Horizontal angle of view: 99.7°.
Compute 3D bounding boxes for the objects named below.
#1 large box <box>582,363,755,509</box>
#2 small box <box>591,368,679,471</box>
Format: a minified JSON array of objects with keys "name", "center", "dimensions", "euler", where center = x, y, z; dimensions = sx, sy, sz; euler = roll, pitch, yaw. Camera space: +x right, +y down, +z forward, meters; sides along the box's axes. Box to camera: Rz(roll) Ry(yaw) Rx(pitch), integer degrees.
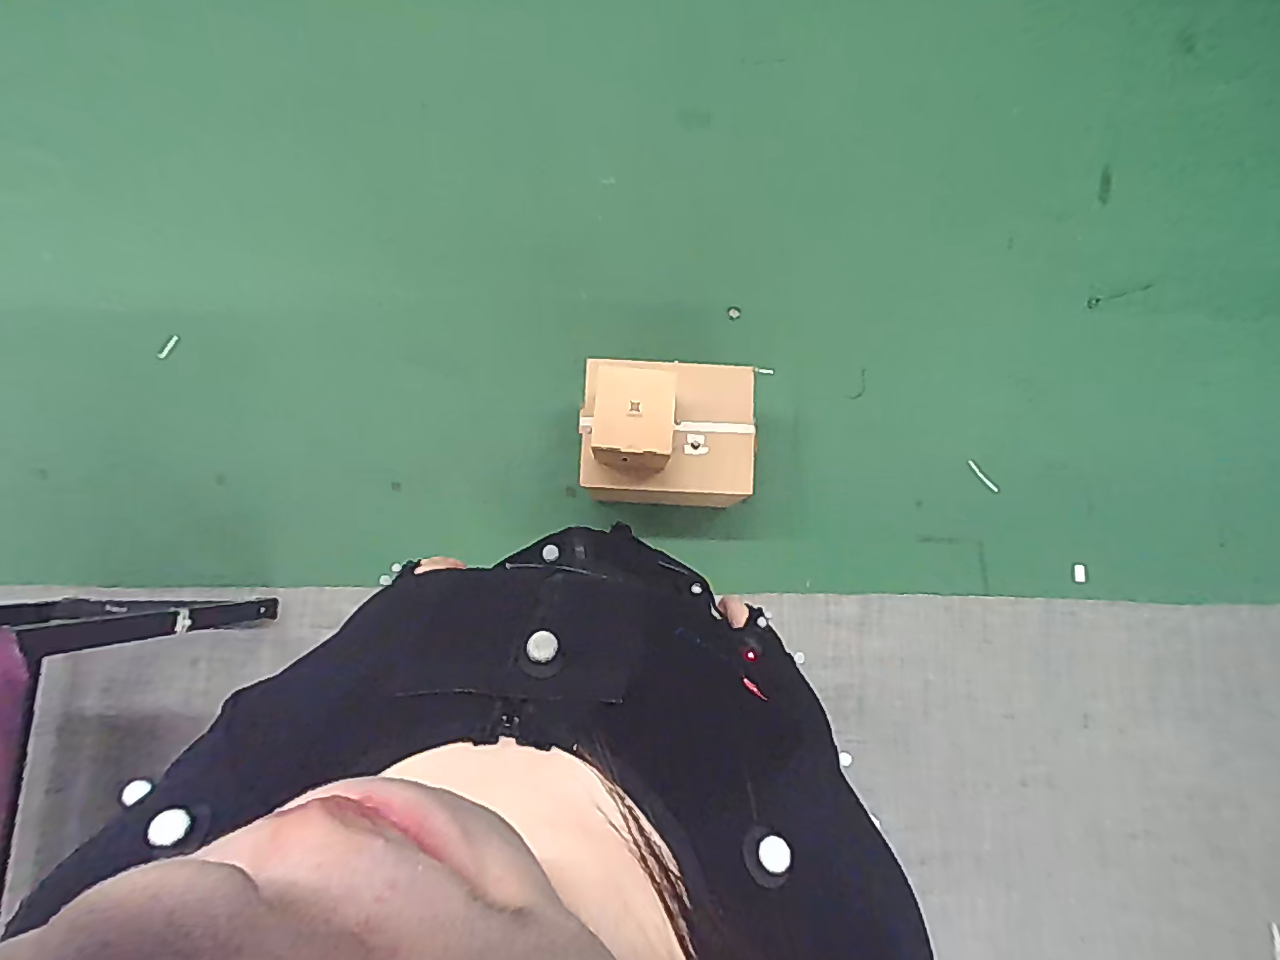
[{"name":"large box","center":[0.064,-0.096,1.403],"dimensions":[0.408,0.320,0.320],"euler":[3,82,-1]},{"name":"small box","center":[-0.012,-0.123,1.159],"dimensions":[0.168,0.176,0.179],"euler":[5,82,-1]}]
